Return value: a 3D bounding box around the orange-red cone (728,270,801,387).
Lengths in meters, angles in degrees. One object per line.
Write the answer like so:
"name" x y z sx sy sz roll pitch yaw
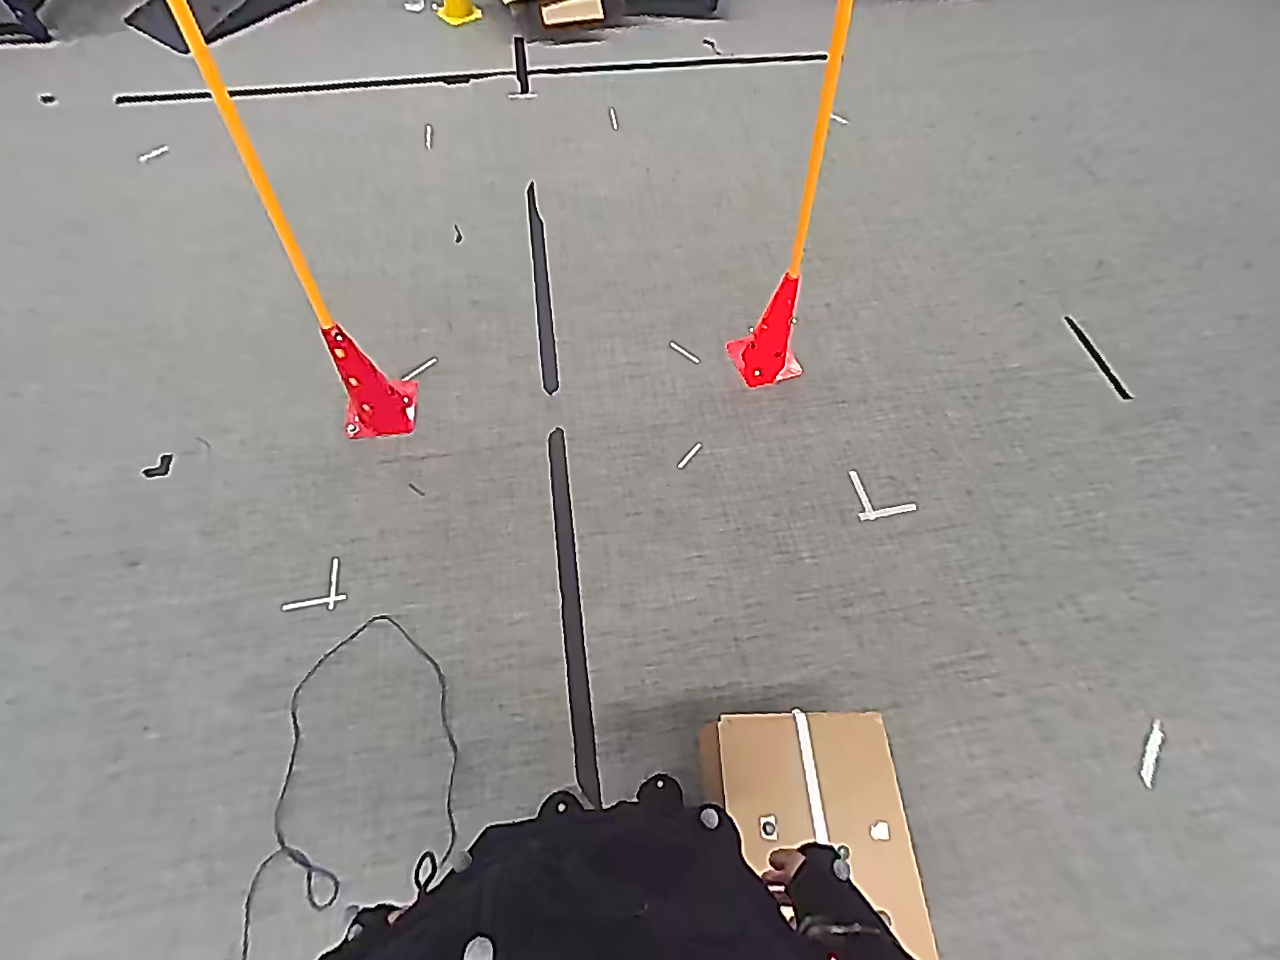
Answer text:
"orange-red cone" 0.412 -0.475 1.616 0.199 0.360 0.198 -15 64 -11
